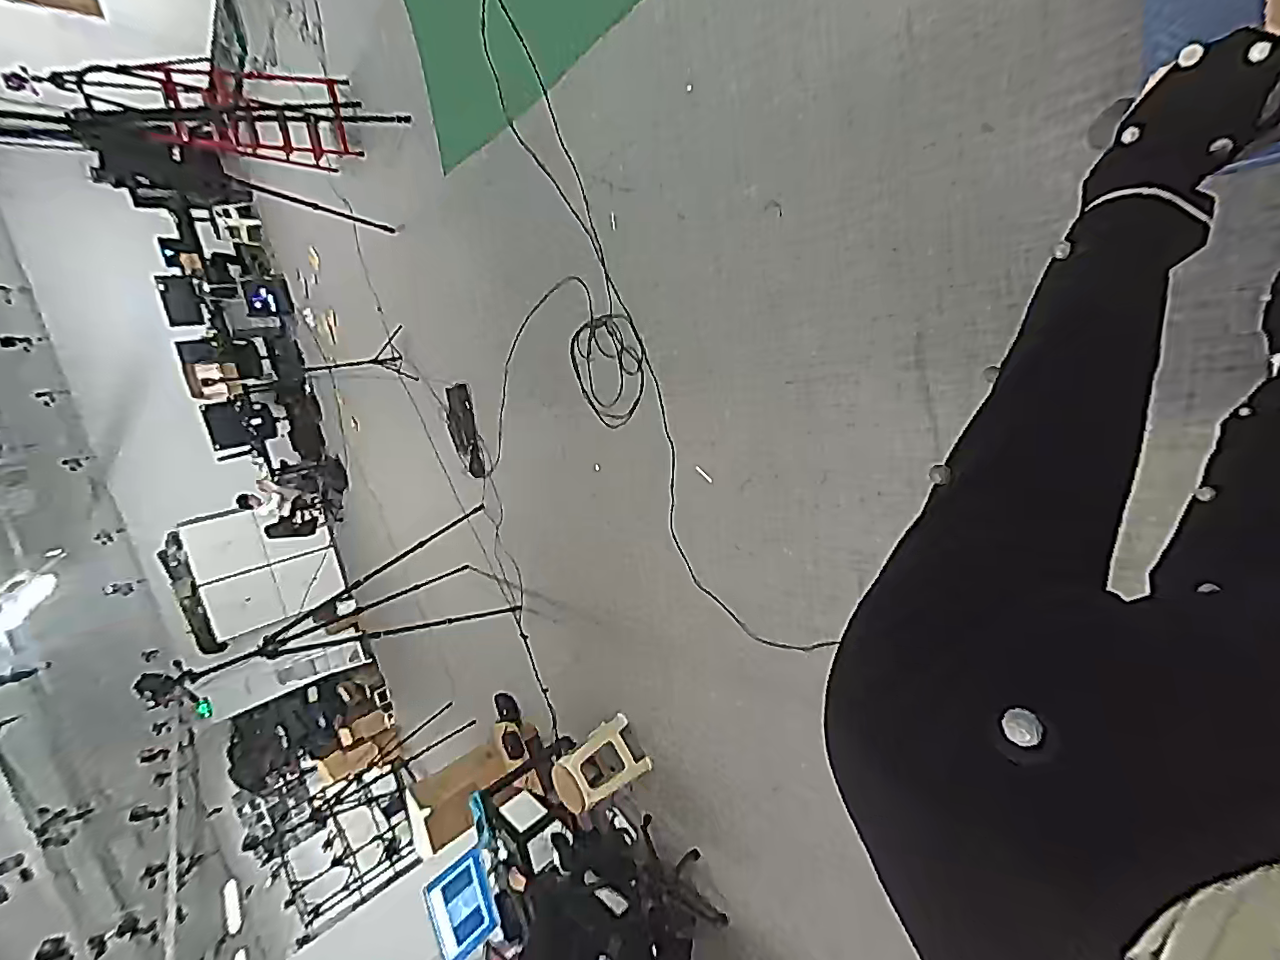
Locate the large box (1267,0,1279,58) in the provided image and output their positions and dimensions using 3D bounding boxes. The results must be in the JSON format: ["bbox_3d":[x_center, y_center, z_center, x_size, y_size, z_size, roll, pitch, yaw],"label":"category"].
[{"bbox_3d":[0.934,-0.749,0.583,0.320,0.320,0.408,5,109,49],"label":"large box"}]
